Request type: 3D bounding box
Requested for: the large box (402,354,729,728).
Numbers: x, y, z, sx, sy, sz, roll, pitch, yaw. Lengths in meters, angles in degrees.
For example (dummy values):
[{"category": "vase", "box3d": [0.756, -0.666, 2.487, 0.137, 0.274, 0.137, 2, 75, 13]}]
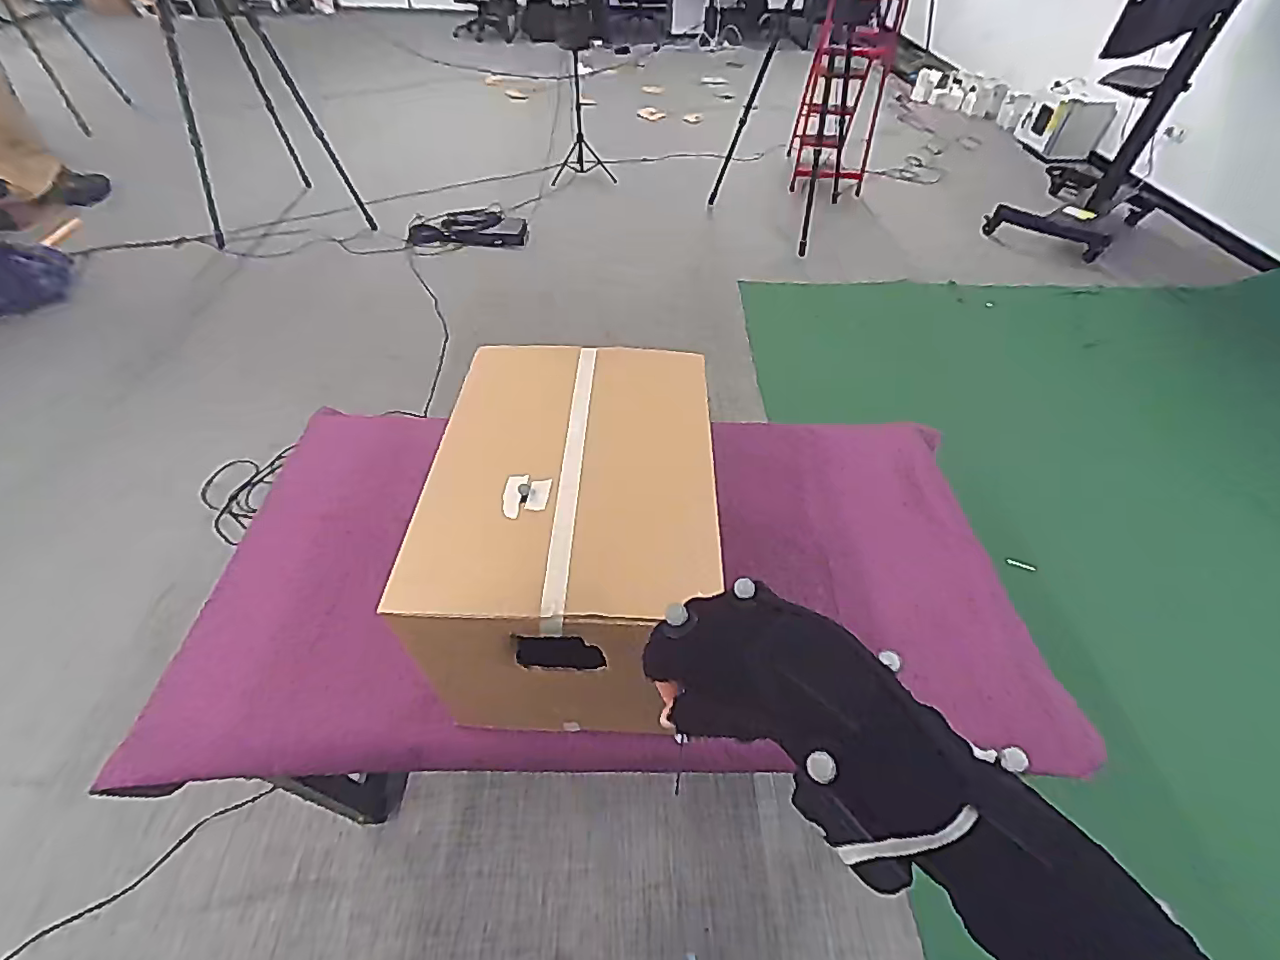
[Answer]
[{"category": "large box", "box3d": [-0.073, 0.079, 0.740, 0.320, 0.320, 0.408, 2, 49, 0]}]
